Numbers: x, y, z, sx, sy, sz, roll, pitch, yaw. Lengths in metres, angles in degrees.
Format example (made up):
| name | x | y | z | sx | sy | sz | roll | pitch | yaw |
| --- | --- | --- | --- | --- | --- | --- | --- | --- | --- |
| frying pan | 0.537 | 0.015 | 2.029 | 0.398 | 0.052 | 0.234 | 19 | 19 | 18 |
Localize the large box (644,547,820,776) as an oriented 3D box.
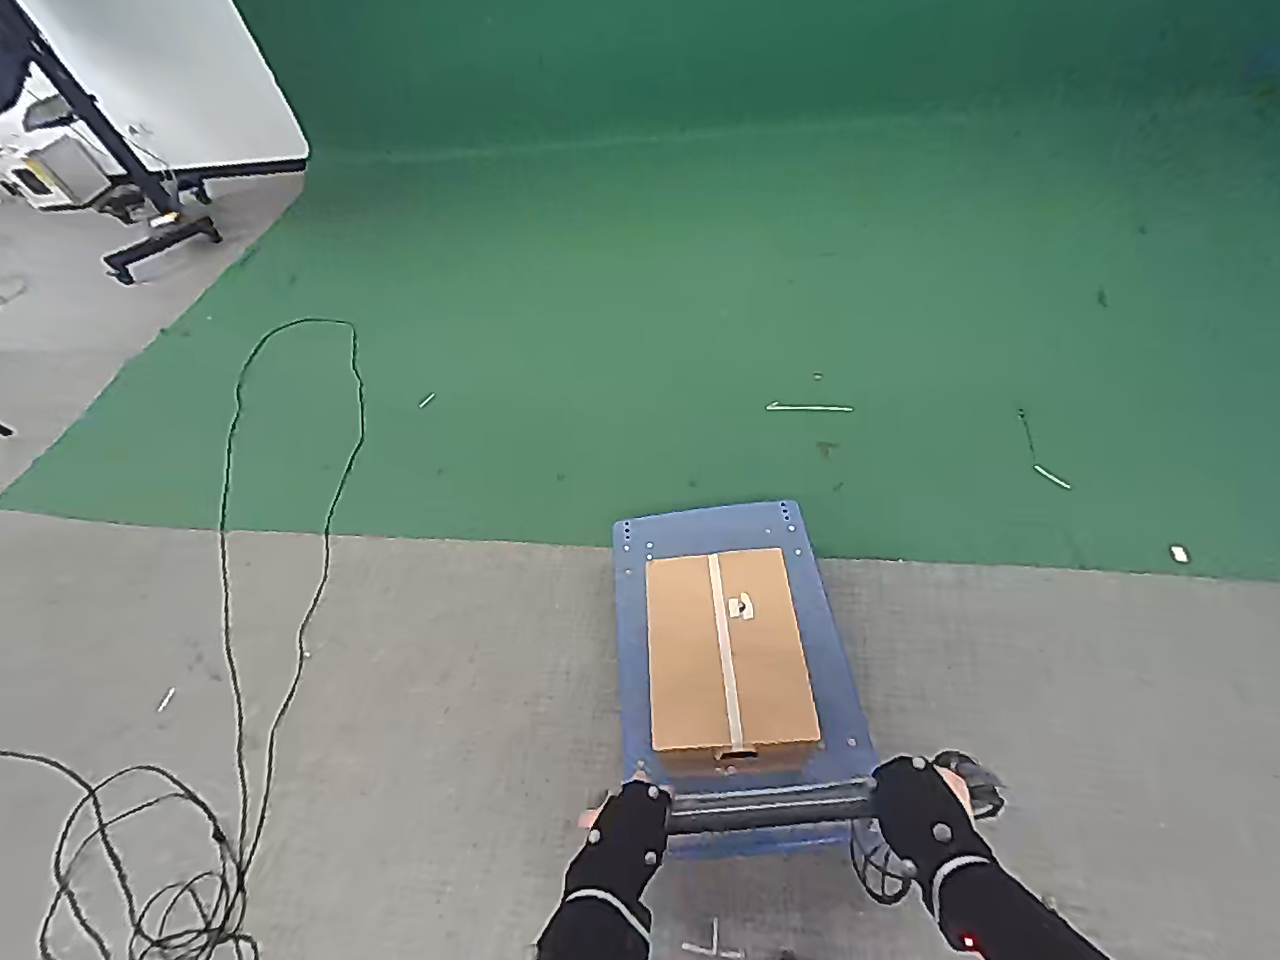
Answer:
| name | x | y | z | sx | sy | sz | roll | pitch | yaw |
| --- | --- | --- | --- | --- | --- | --- | --- | --- | --- |
| large box | 0.189 | 0.414 | 1.228 | 0.320 | 0.320 | 0.408 | -6 | 52 | 4 |
